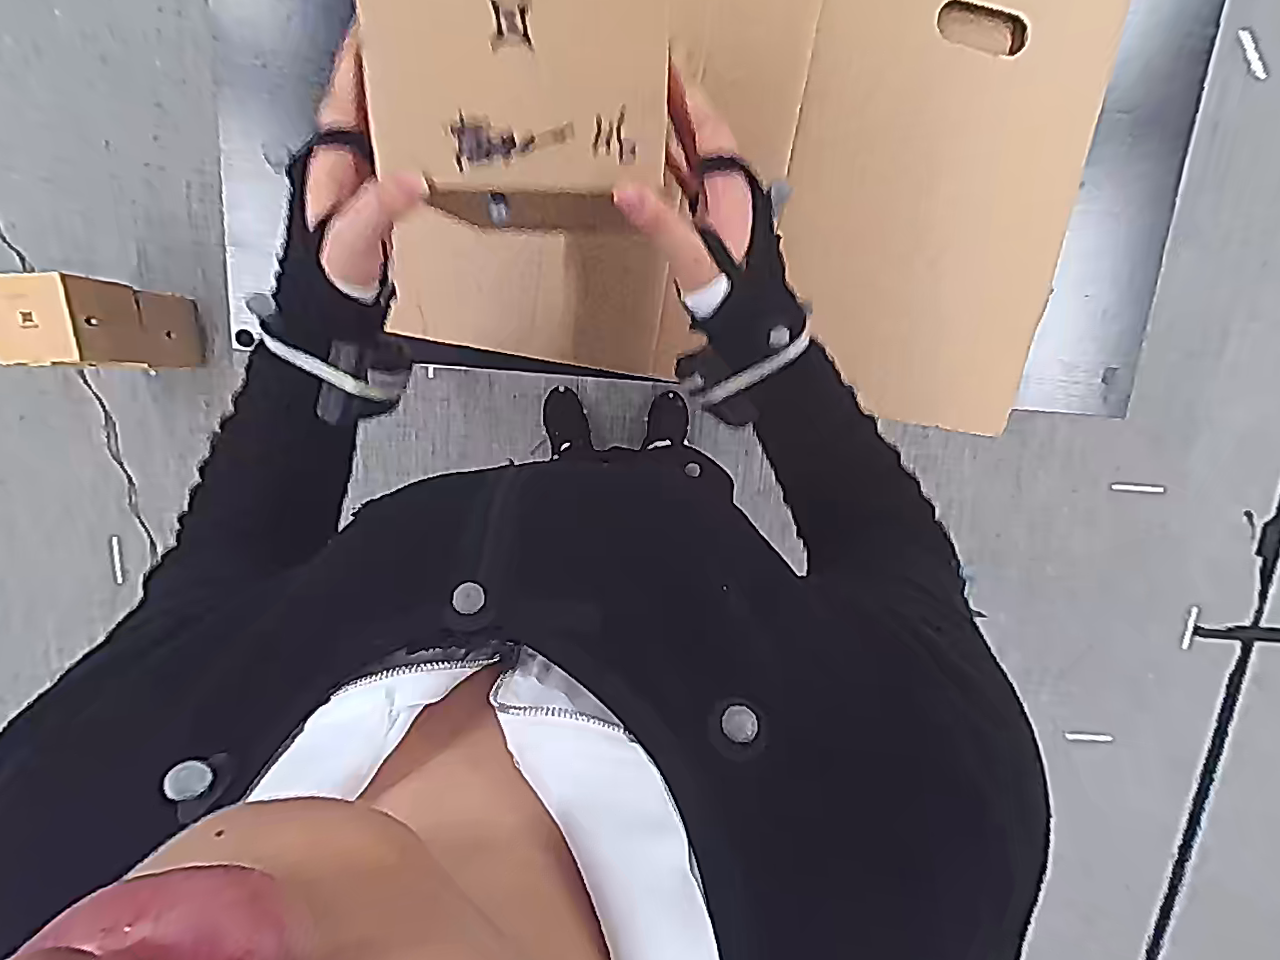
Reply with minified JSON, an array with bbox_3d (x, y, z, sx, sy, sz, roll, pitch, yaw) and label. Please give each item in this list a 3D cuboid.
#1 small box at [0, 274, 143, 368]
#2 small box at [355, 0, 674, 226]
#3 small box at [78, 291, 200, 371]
[{"bbox_3d":[-1.213,-0.329,1.145,0.168,0.176,0.179,-3,100,-2],"label":"small box"},{"bbox_3d":[-0.062,-0.277,0.350,0.168,0.176,0.179,2,107,2],"label":"small box"},{"bbox_3d":[-1.216,-0.354,1.306,0.168,0.176,0.179,0,102,-2],"label":"small box"}]
